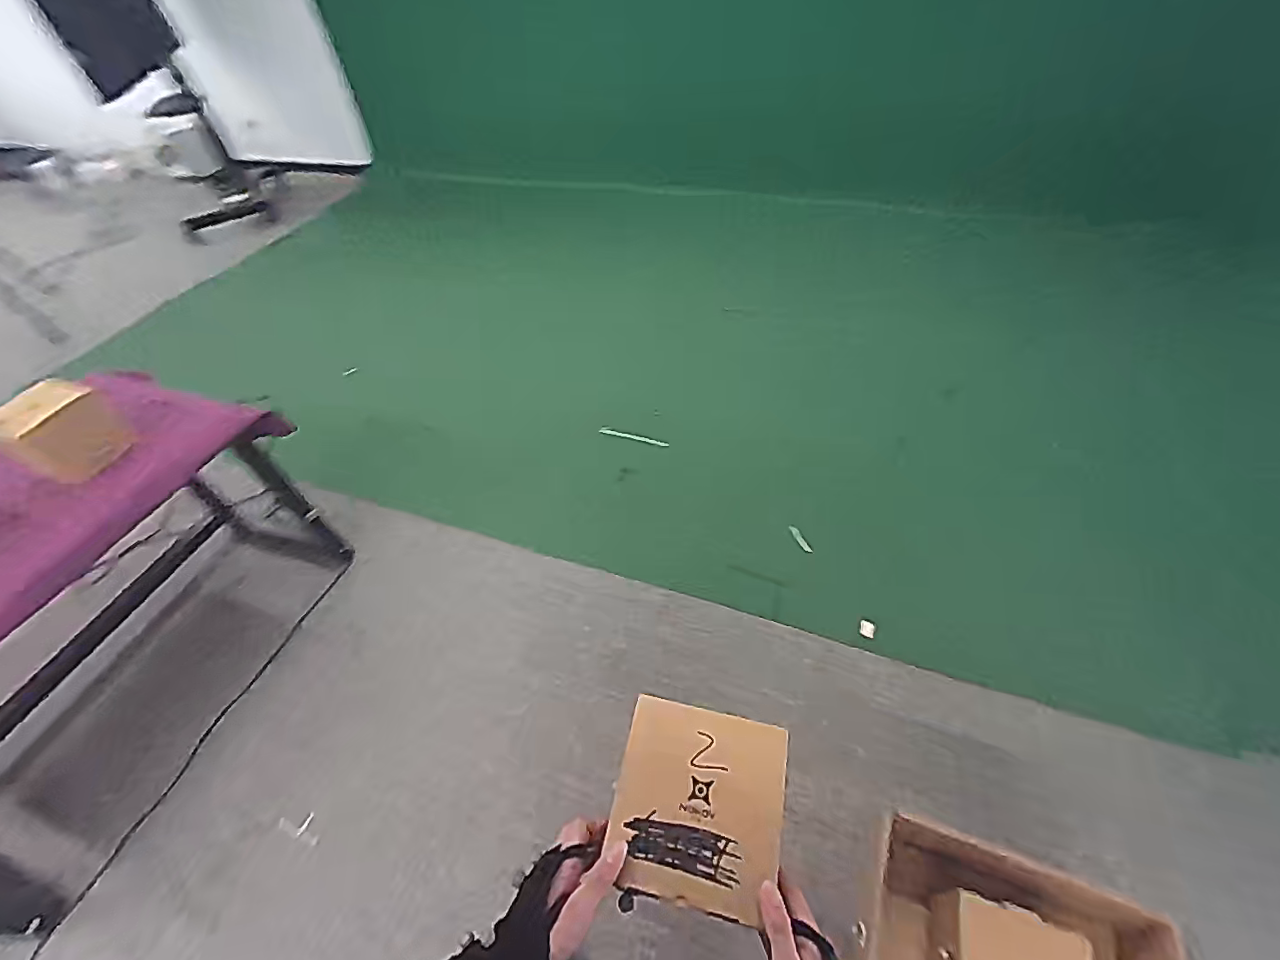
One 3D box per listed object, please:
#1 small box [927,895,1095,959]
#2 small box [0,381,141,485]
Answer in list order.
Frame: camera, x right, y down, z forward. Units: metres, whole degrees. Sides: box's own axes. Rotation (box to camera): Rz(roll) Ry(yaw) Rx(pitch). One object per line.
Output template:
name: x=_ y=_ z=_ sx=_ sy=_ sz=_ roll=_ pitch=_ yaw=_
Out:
small box: x=0.525 y=0.741 z=0.780 sx=0.168 sy=0.176 sz=0.179 roll=13 pitch=53 yaw=18
small box: x=-1.415 y=-0.117 z=1.349 sx=0.168 sy=0.176 sz=0.179 roll=13 pitch=52 yaw=17
